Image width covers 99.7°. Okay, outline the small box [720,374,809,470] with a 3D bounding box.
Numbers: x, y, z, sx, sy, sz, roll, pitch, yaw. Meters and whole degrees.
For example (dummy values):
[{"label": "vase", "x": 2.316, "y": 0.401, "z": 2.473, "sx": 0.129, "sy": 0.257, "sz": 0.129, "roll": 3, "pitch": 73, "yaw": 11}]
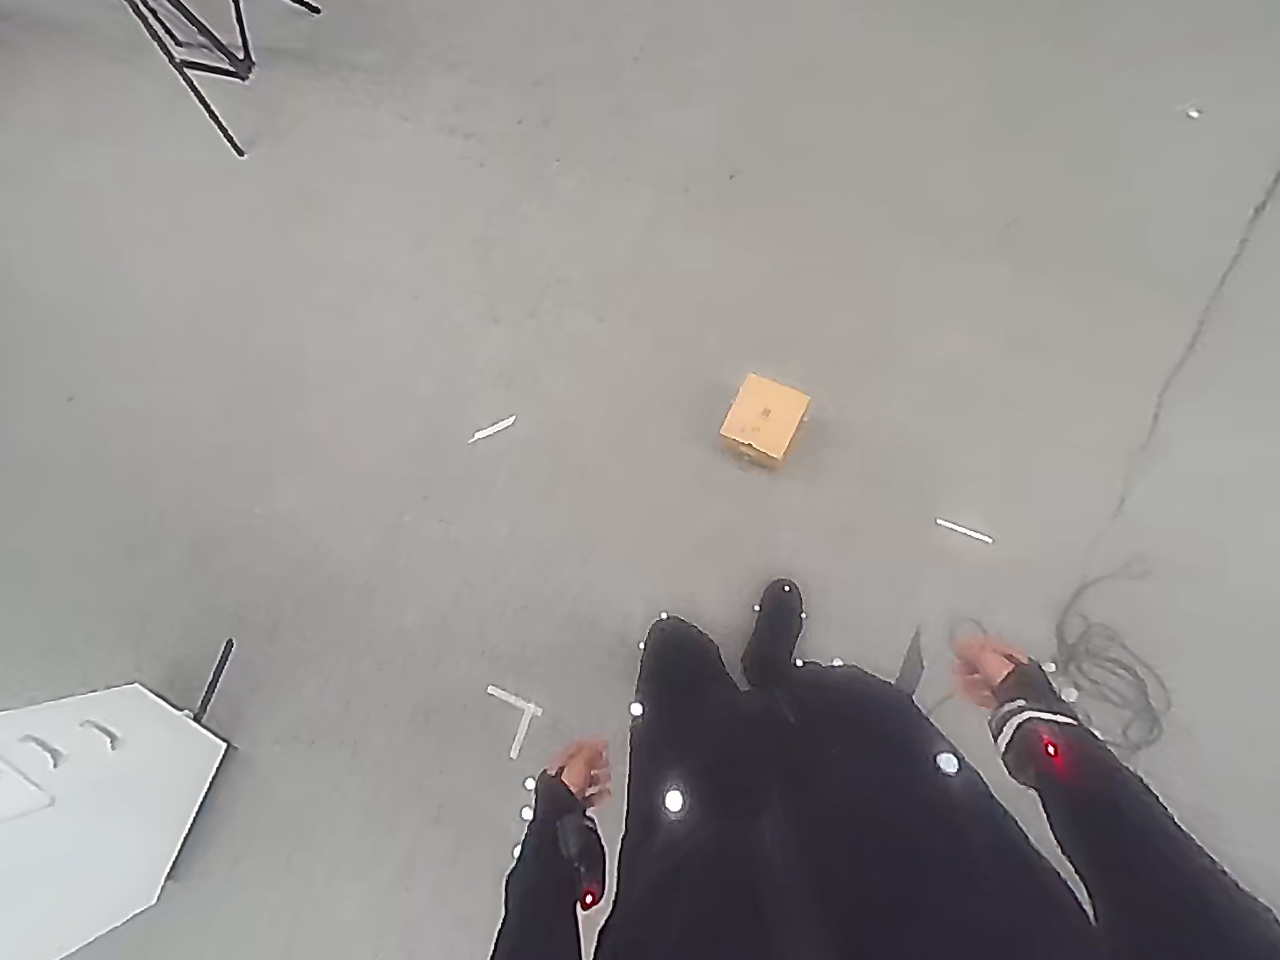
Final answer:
[{"label": "small box", "x": 0.320, "y": -0.145, "z": 1.409, "sx": 0.168, "sy": 0.176, "sz": 0.179, "roll": 25, "pitch": 88, "yaw": 14}]
